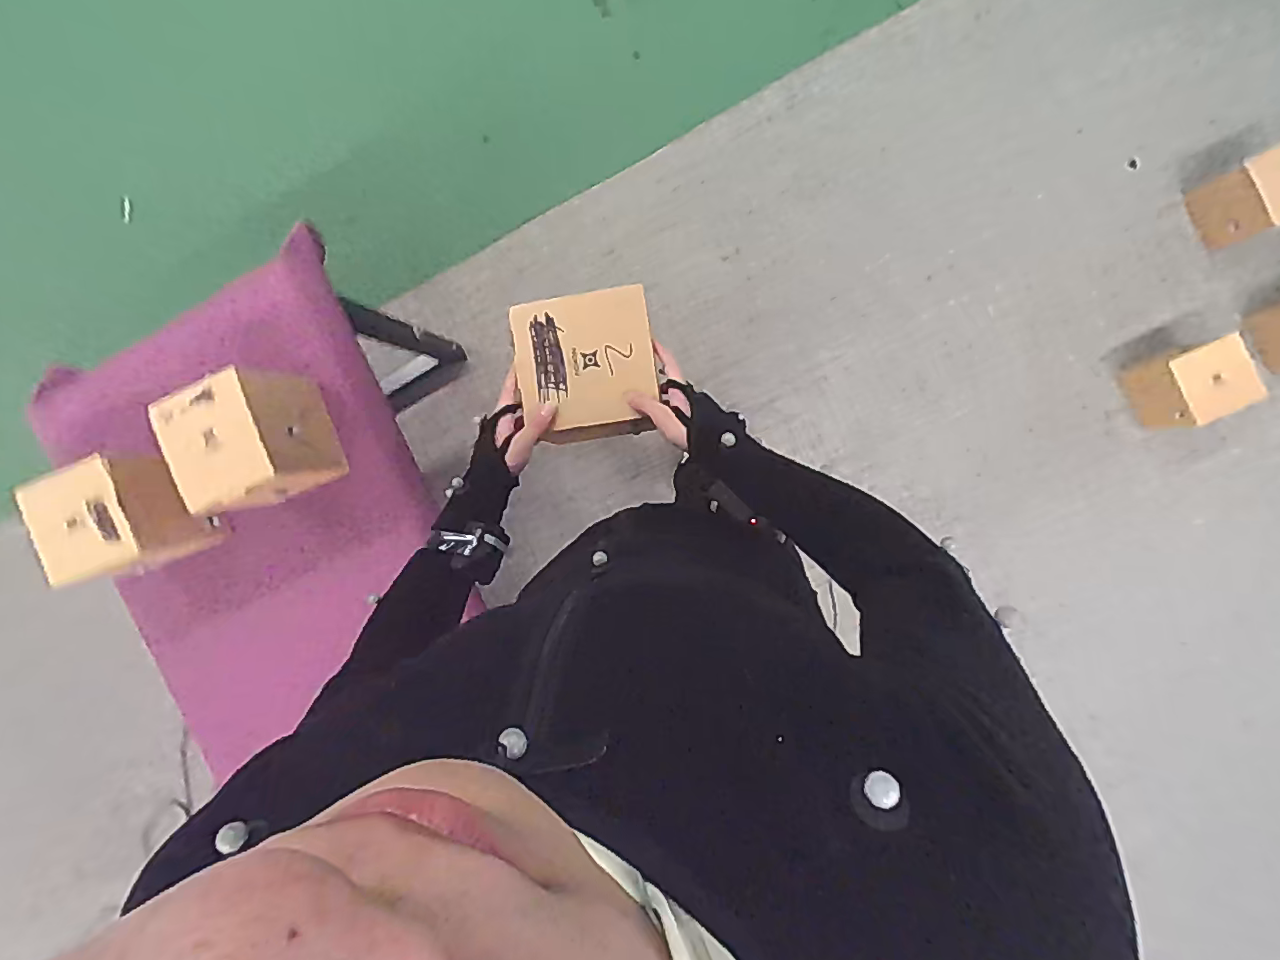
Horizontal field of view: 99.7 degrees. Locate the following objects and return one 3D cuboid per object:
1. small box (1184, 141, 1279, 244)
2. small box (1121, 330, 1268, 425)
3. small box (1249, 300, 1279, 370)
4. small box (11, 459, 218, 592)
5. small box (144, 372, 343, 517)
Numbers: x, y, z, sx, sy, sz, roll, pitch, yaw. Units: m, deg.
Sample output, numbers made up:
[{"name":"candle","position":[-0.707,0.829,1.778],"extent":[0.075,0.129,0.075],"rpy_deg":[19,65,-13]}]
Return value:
[{"name":"small box","position":[1.512,-0.704,1.320],"extent":[0.168,0.176,0.179],"rpy_deg":[-26,90,7]},{"name":"small box","position":[1.382,-0.249,1.364],"extent":[0.168,0.176,0.179],"rpy_deg":[-27,91,7]},{"name":"small box","position":[1.674,-0.385,1.318],"extent":[0.168,0.176,0.179],"rpy_deg":[-27,91,8]},{"name":"small box","position":[-0.864,0.066,0.913],"extent":[0.179,0.176,0.168],"rpy_deg":[-20,91,8]},{"name":"small box","position":[-0.626,-0.059,0.876],"extent":[0.168,0.176,0.179],"rpy_deg":[-21,92,8]}]
